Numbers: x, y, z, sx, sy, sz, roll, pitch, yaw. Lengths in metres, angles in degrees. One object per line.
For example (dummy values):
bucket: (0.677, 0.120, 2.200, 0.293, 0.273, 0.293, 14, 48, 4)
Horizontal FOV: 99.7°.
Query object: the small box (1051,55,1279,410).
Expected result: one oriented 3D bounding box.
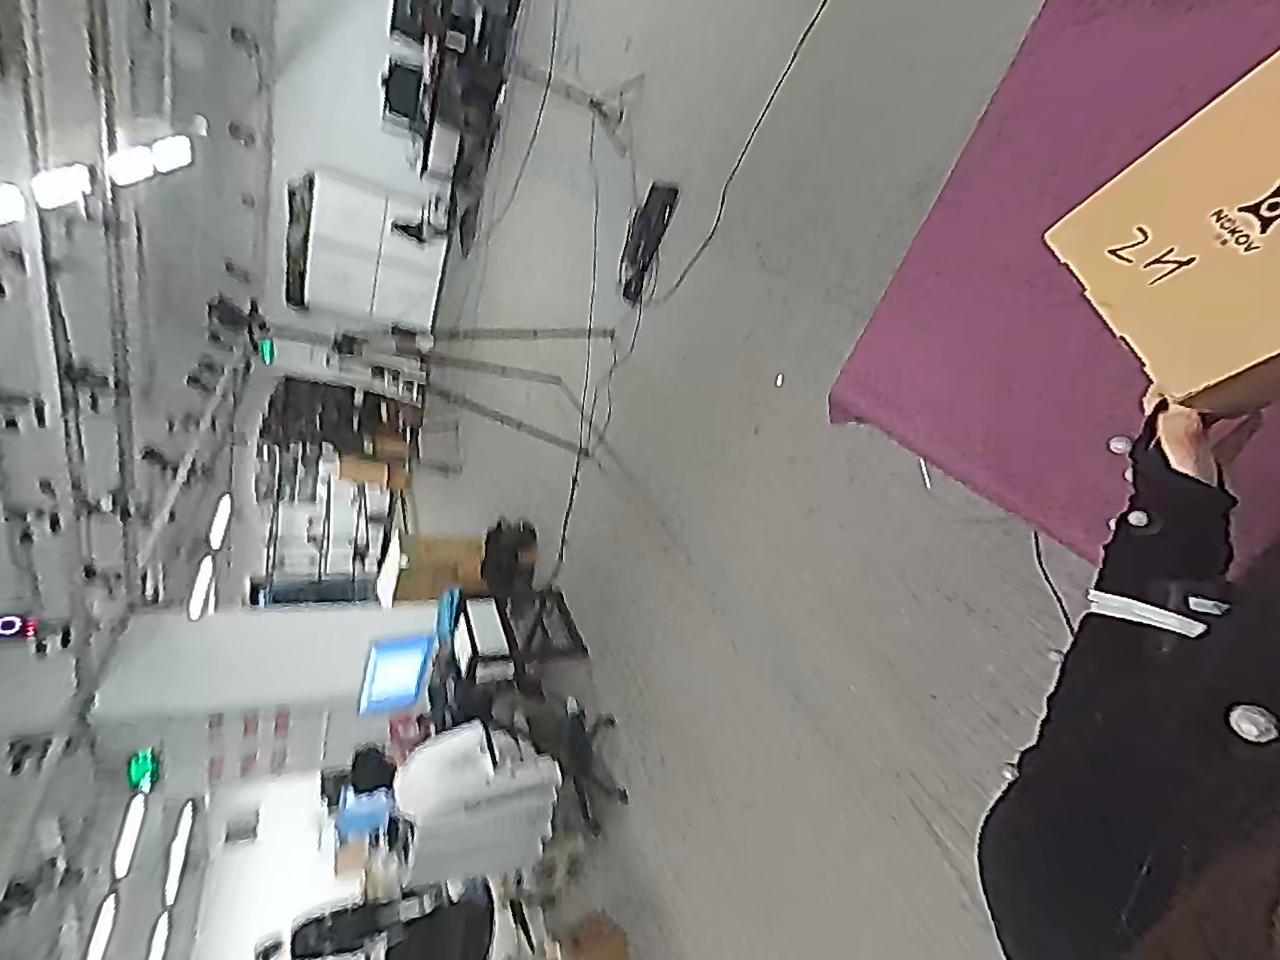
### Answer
small box: (0.457, -0.167, 0.385, 0.179, 0.176, 0.168, -42, 54, 49)
